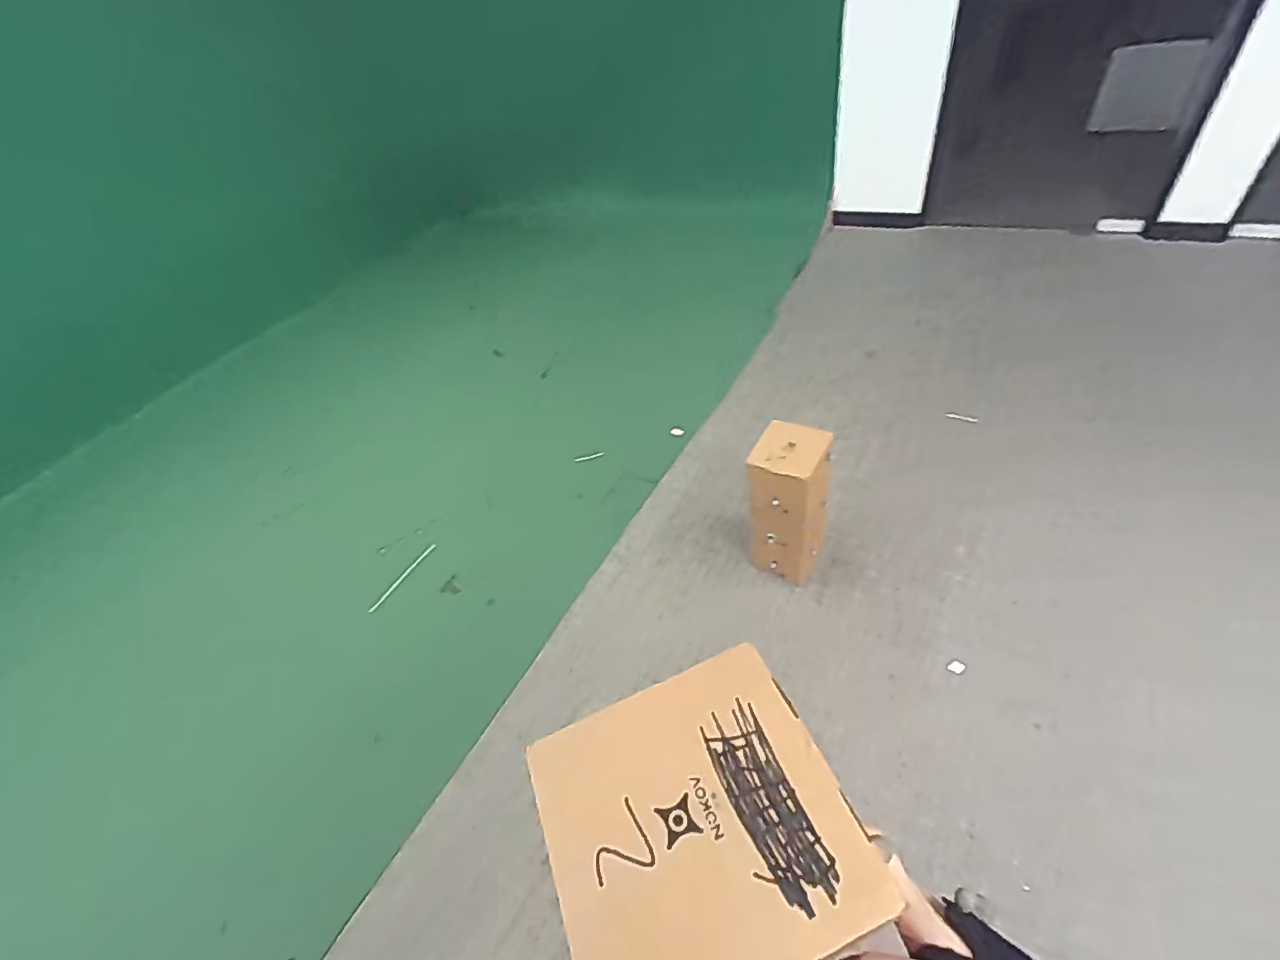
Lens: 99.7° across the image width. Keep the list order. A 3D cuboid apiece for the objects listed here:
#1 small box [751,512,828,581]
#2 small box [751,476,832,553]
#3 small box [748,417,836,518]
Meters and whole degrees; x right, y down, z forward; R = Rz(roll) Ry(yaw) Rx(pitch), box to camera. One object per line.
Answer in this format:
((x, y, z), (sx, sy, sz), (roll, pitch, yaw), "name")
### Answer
((0.459, 0.178, 1.649), (0.168, 0.176, 0.179), (22, 58, 31), "small box")
((0.428, 0.073, 1.529), (0.168, 0.176, 0.179), (18, 57, 30), "small box")
((0.395, -0.033, 1.407), (0.168, 0.176, 0.179), (18, 55, 31), "small box")
